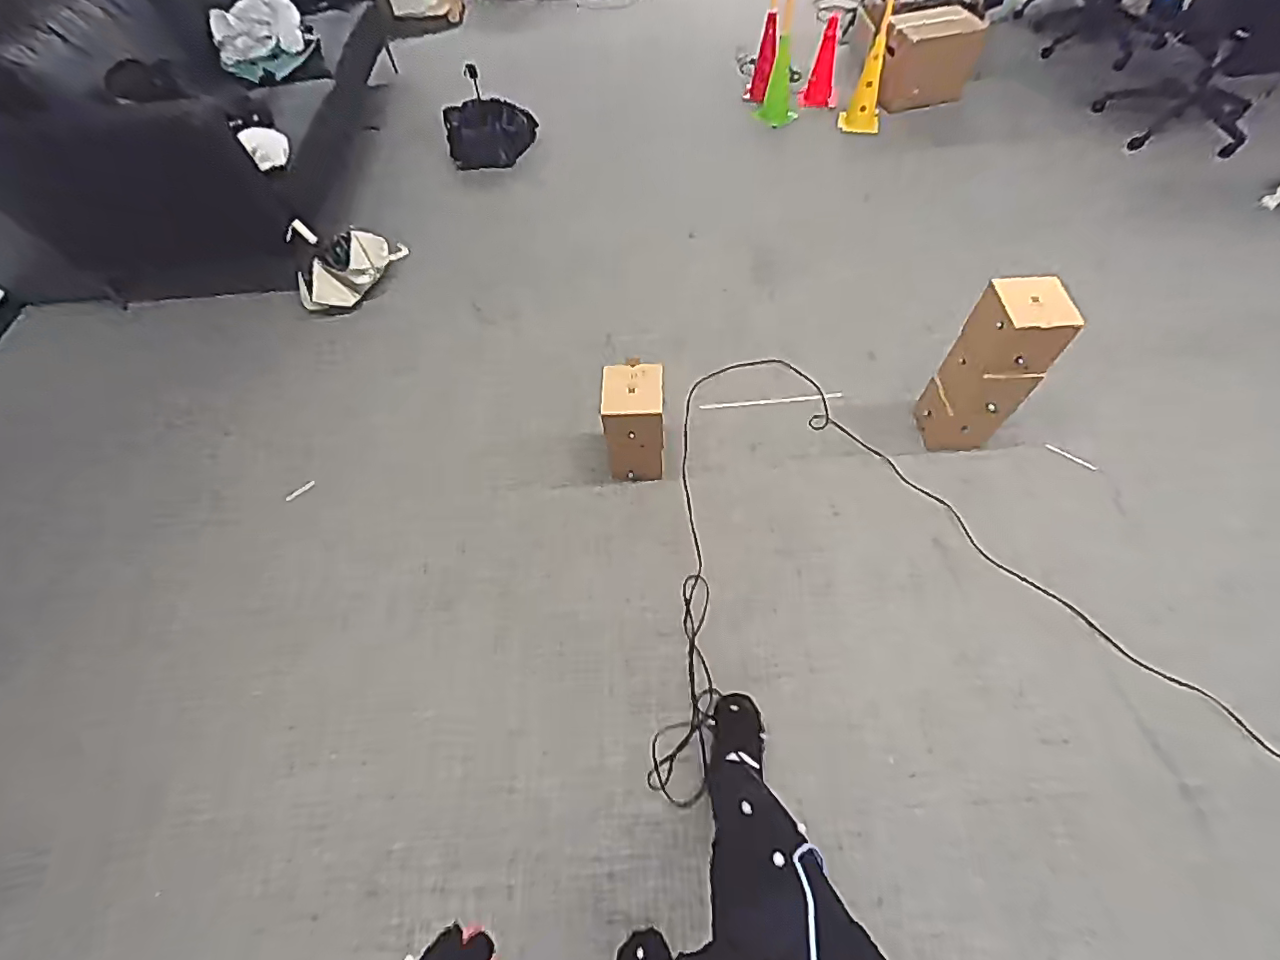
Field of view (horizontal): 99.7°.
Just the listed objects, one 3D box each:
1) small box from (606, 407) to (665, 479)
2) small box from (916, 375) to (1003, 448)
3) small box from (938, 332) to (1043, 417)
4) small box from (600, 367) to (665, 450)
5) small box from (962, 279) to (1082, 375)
[{"bbox_3d":[-0.009,-0.122,1.658,0.168,0.176,0.179,1,58,5],"label":"small box"},{"bbox_3d":[0.973,-0.209,1.659,0.179,0.176,0.168,-3,58,2],"label":"small box"},{"bbox_3d":[0.972,-0.296,1.519,0.168,0.176,0.179,-2,59,2],"label":"small box"},{"bbox_3d":[-0.016,-0.196,1.530,0.168,0.176,0.179,-1,57,4],"label":"small box"},{"bbox_3d":[0.963,-0.390,1.386,0.168,0.176,0.179,-2,58,2],"label":"small box"}]
